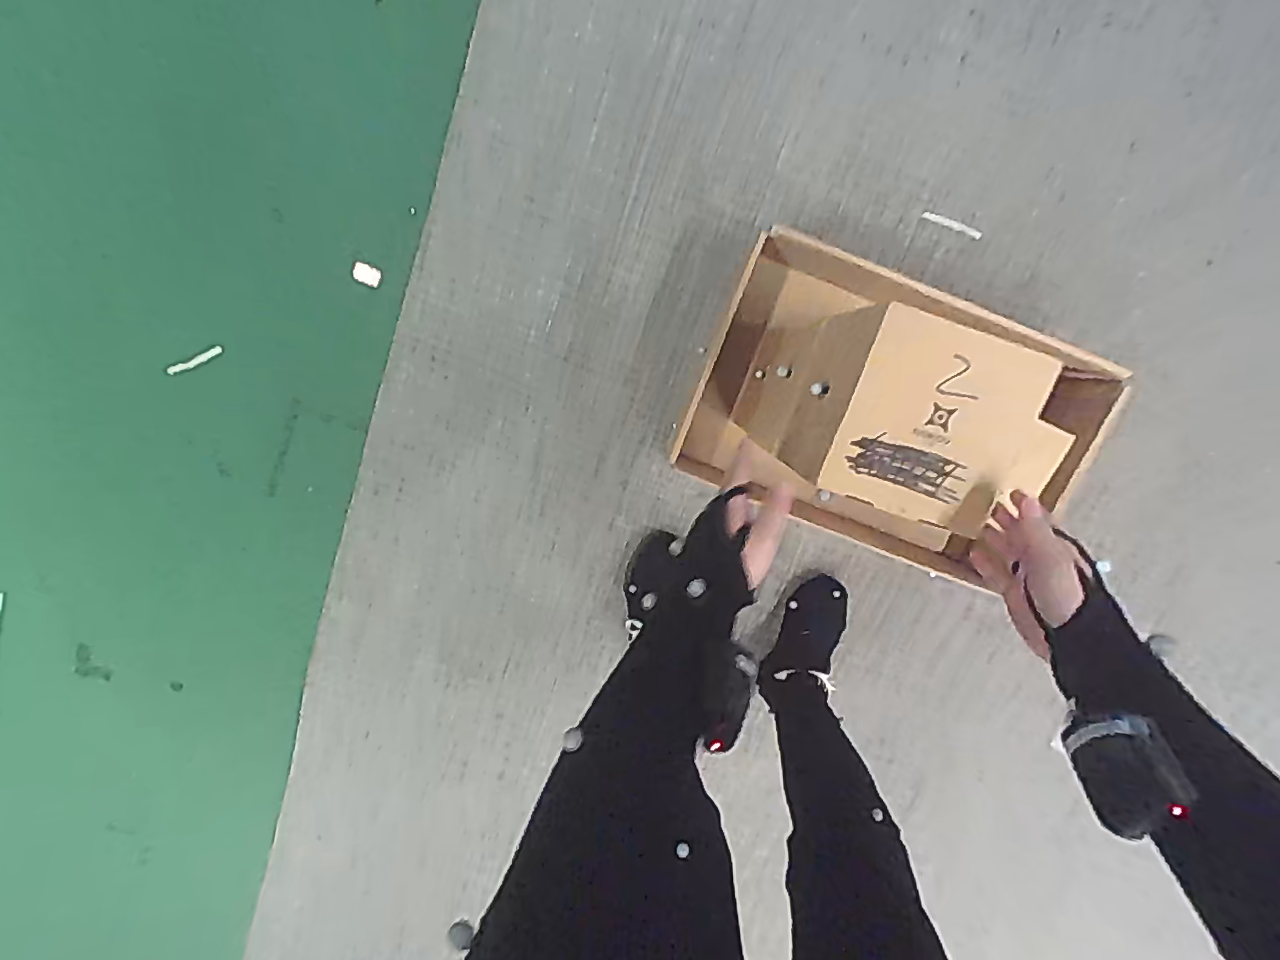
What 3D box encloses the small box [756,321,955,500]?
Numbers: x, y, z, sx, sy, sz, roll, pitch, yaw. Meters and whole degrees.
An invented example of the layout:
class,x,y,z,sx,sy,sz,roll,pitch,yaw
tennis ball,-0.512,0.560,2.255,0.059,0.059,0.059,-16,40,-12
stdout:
class,x,y,z,sx,sy,sz,roll,pitch,yaw
small box,0.268,-0.095,0.723,0.168,0.176,0.179,18,101,-2
